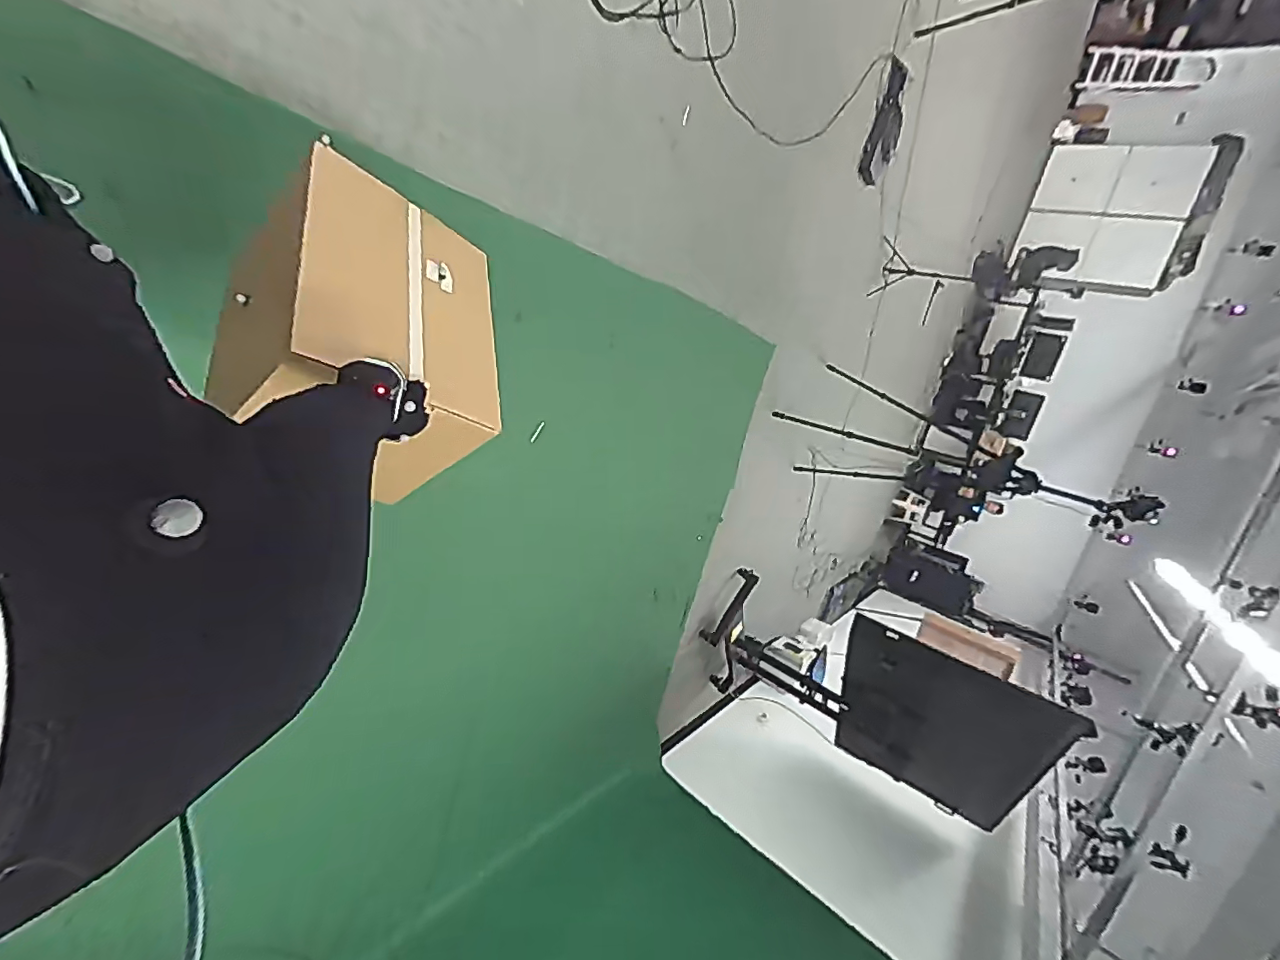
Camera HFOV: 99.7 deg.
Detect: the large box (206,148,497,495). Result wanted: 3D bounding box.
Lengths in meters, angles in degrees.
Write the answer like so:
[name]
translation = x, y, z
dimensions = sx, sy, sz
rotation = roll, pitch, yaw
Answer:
[large box]
translation = -0.480, -0.234, 0.921
dimensions = 0.320, 0.320, 0.408
rotation = 22, 47, -50
